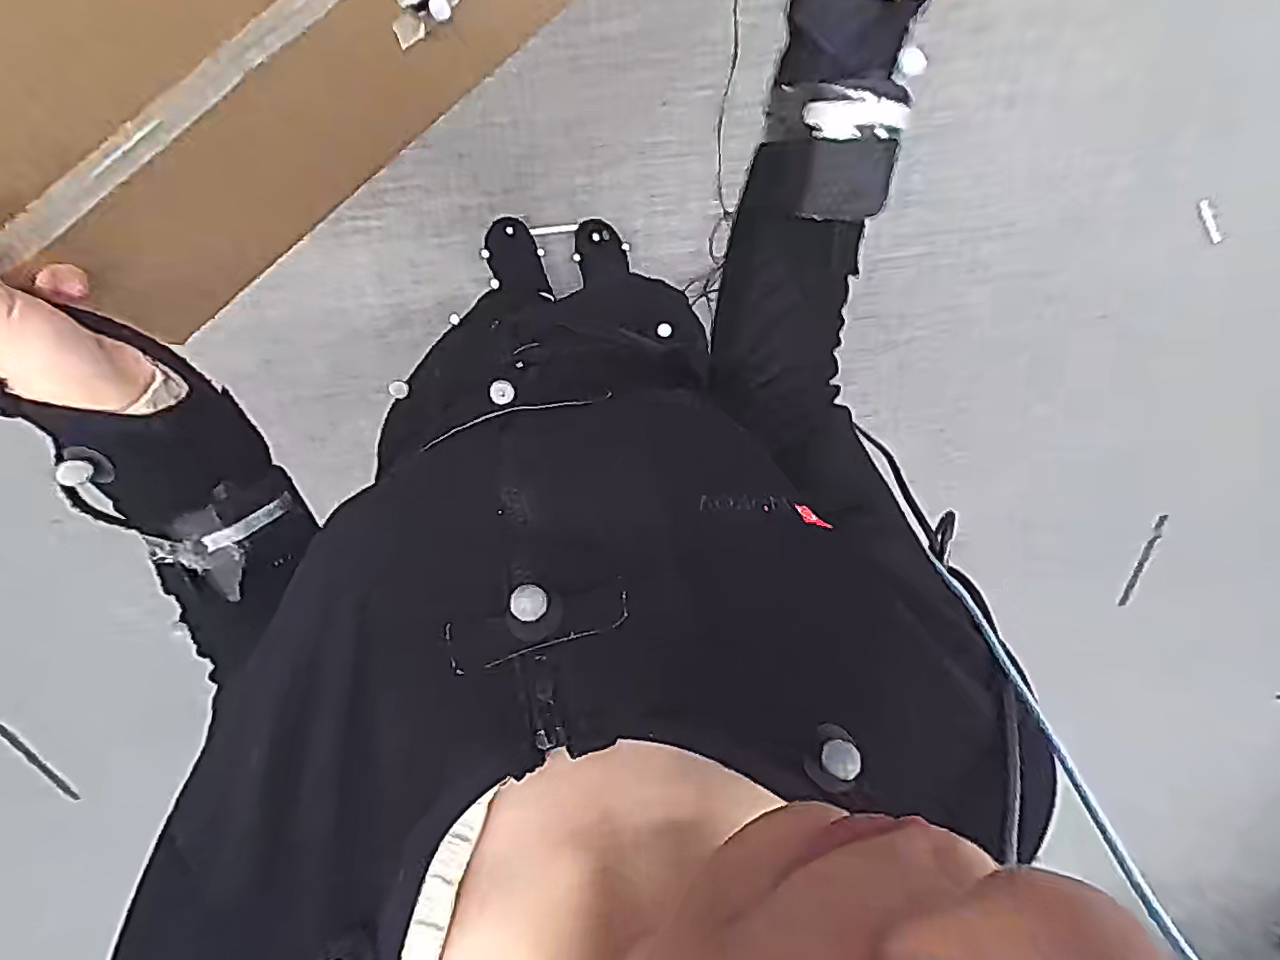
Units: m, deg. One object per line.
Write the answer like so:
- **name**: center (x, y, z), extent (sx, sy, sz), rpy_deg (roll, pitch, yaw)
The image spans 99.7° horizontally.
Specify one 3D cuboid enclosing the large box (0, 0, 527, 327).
- **large box**: center (-0.272, -0.341, 0.218), extent (0.320, 0.320, 0.408), rpy_deg (45, 84, -10)
